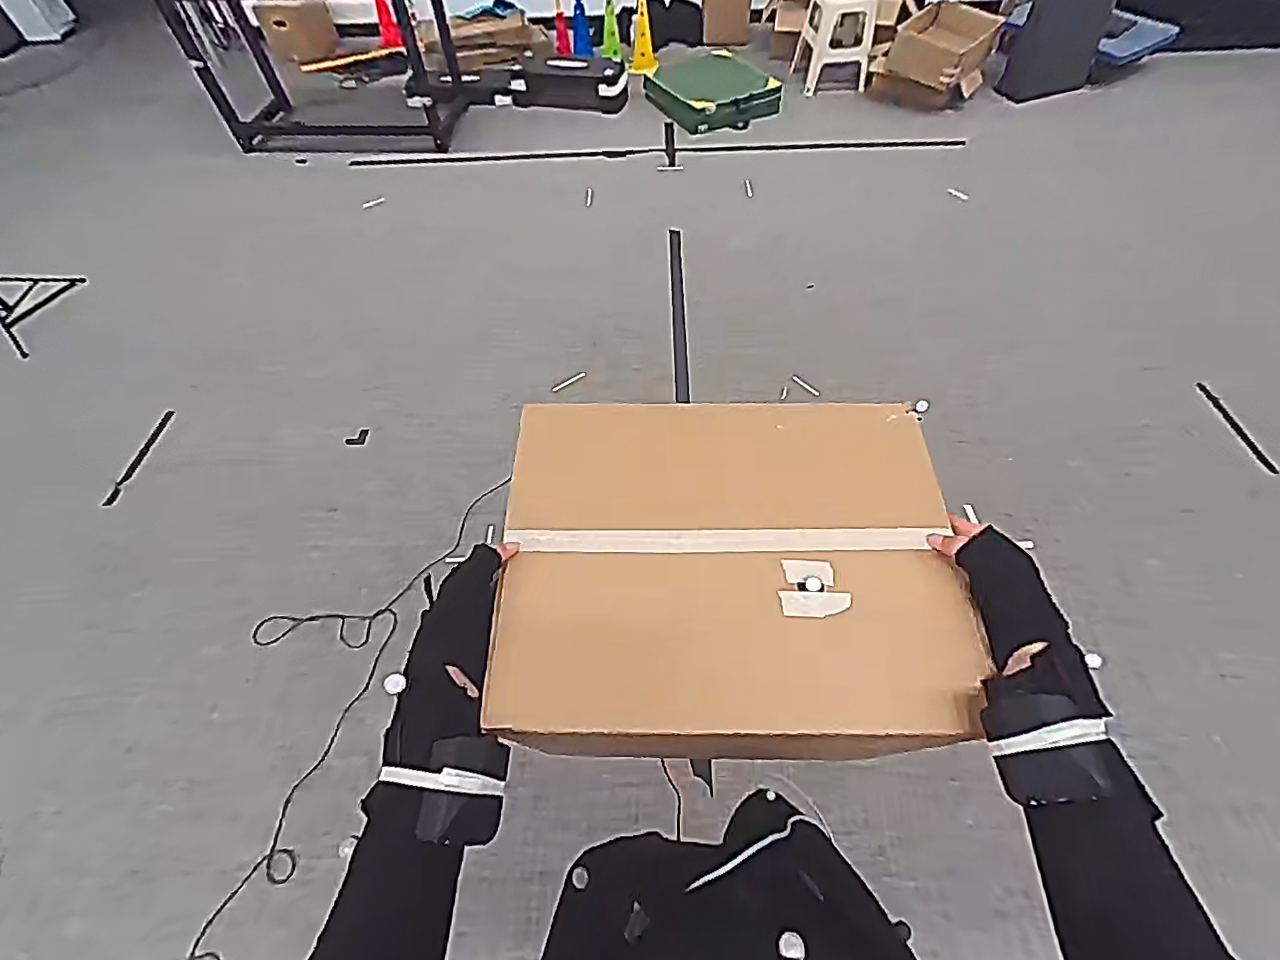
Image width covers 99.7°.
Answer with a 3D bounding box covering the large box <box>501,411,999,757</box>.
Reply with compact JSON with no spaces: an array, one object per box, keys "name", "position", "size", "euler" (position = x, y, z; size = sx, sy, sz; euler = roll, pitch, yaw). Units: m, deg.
[{"name":"large box","position":[0.084,0.136,0.626],"size":[0.408,0.320,0.320],"euler":[0,61,0]}]
